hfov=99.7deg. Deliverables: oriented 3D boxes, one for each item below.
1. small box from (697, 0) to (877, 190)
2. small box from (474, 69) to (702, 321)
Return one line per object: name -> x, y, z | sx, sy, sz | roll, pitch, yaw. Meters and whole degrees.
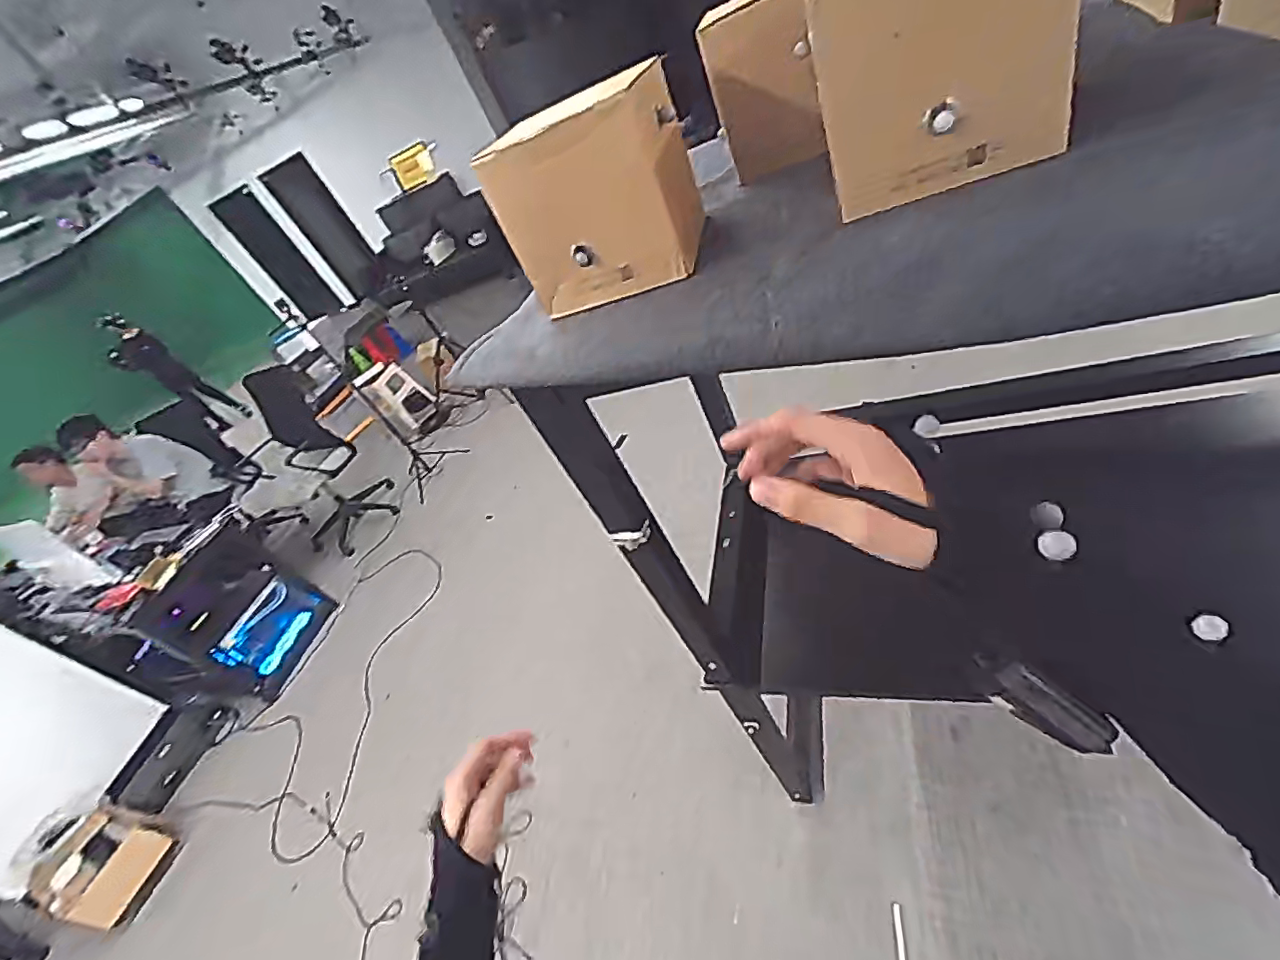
small box -> 0.182, -0.488, 0.655 | 0.179, 0.176, 0.168 | -10, 42, 22
small box -> -0.038, -0.299, 0.579 | 0.168, 0.176, 0.179 | -10, 41, 22
